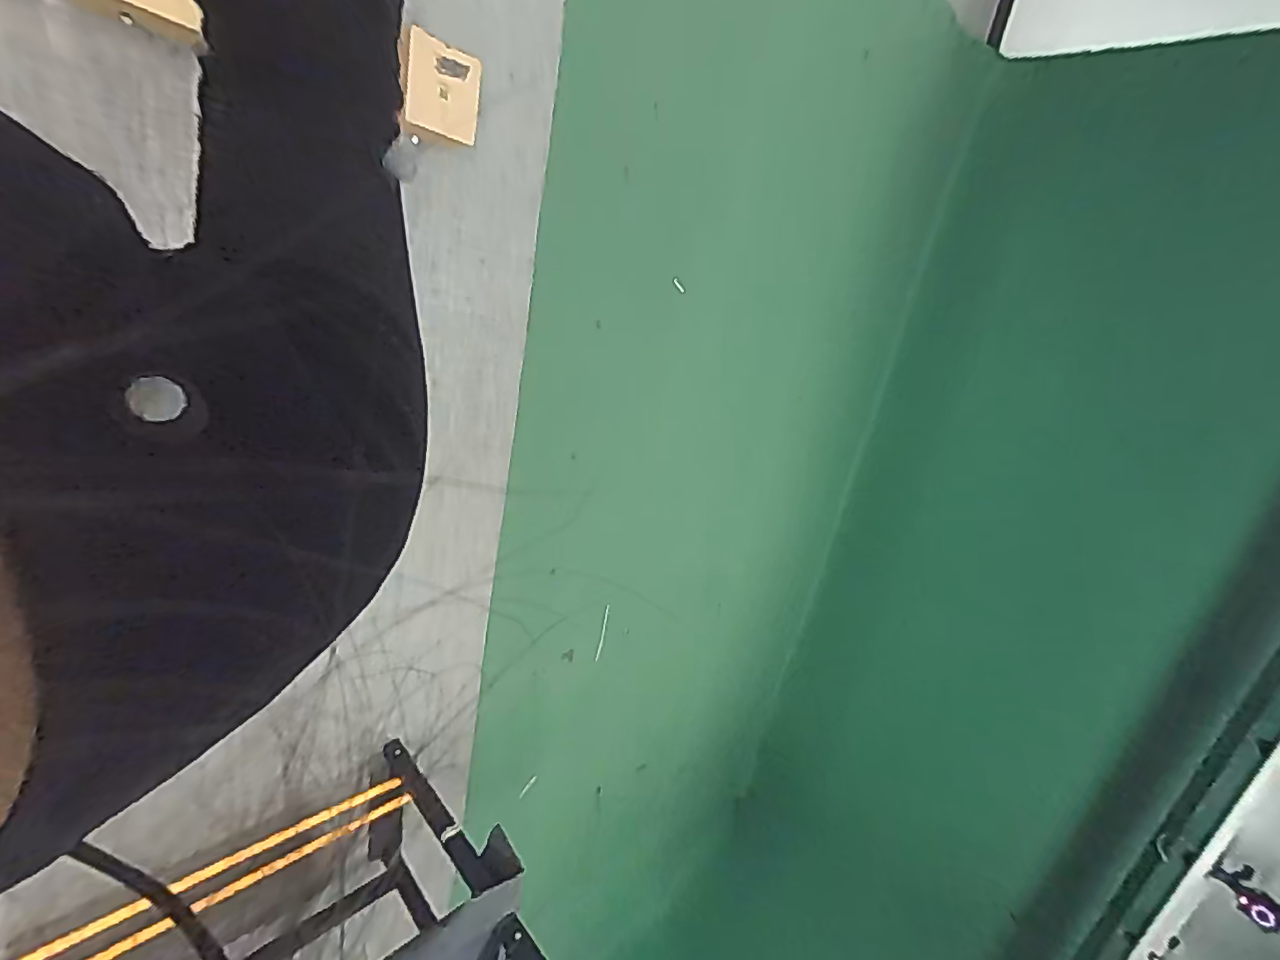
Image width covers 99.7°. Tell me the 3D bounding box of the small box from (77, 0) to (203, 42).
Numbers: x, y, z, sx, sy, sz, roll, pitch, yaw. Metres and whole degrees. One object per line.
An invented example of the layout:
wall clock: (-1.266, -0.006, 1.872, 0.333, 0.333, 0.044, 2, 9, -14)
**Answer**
small box: (-0.819, -0.844, 0.863, 0.168, 0.176, 0.179, -7, 115, -48)

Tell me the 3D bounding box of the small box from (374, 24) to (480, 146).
small box: (-0.488, -0.885, 1.230, 0.168, 0.176, 0.179, -9, 118, -47)
